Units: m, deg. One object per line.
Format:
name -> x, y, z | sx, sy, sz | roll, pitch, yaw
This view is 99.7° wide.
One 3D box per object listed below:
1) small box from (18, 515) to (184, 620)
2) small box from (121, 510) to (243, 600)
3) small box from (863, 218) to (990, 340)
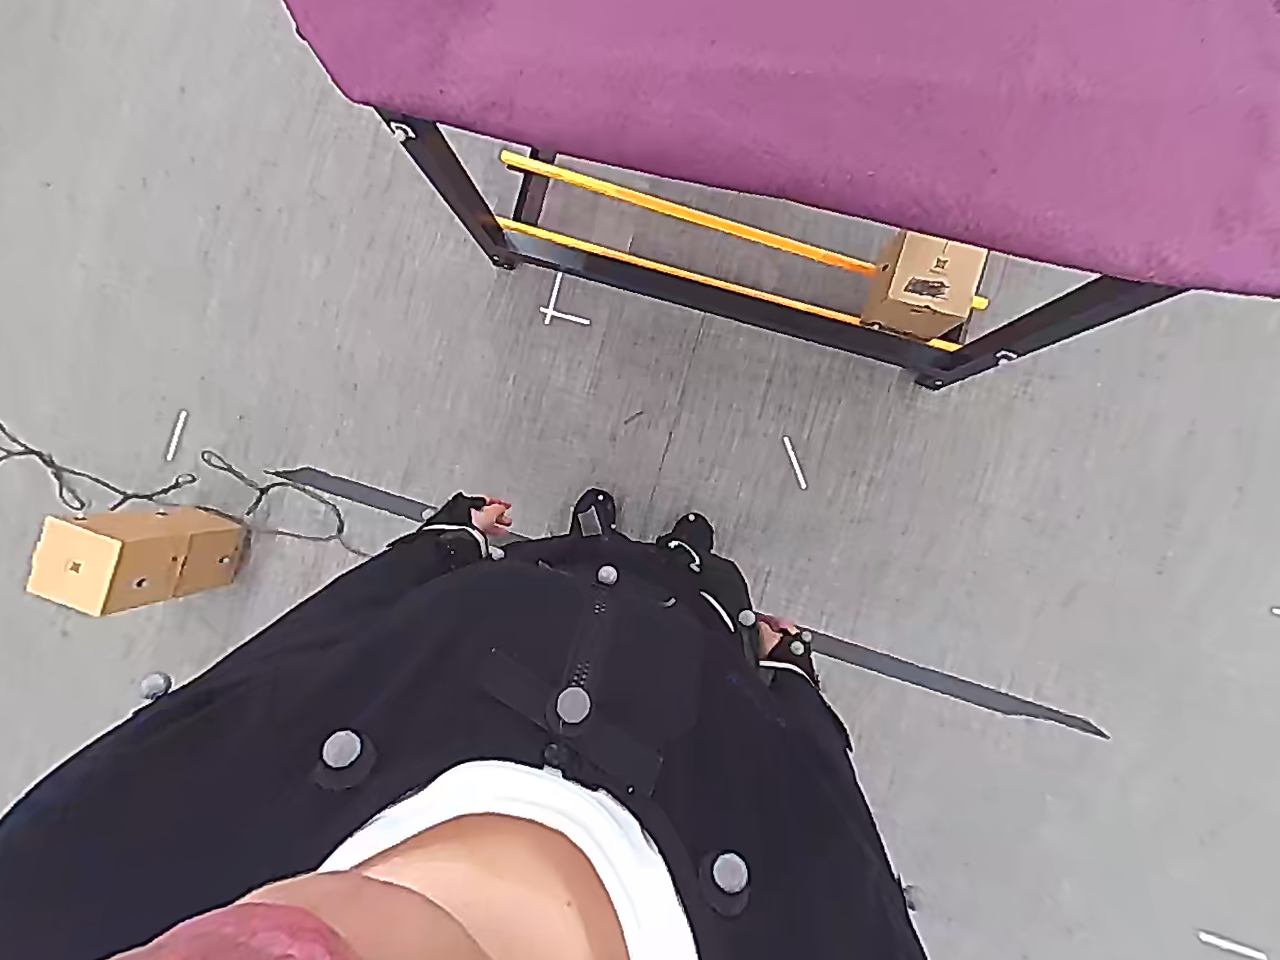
small box -> -1.151, 0.178, 1.169 | 0.179, 0.176, 0.168 | 18, 91, 3
small box -> -1.142, 0.176, 1.332 | 0.179, 0.176, 0.168 | 18, 92, 2
small box -> 0.601, -0.420, 1.160 | 0.168, 0.176, 0.179 | 17, 89, 4
